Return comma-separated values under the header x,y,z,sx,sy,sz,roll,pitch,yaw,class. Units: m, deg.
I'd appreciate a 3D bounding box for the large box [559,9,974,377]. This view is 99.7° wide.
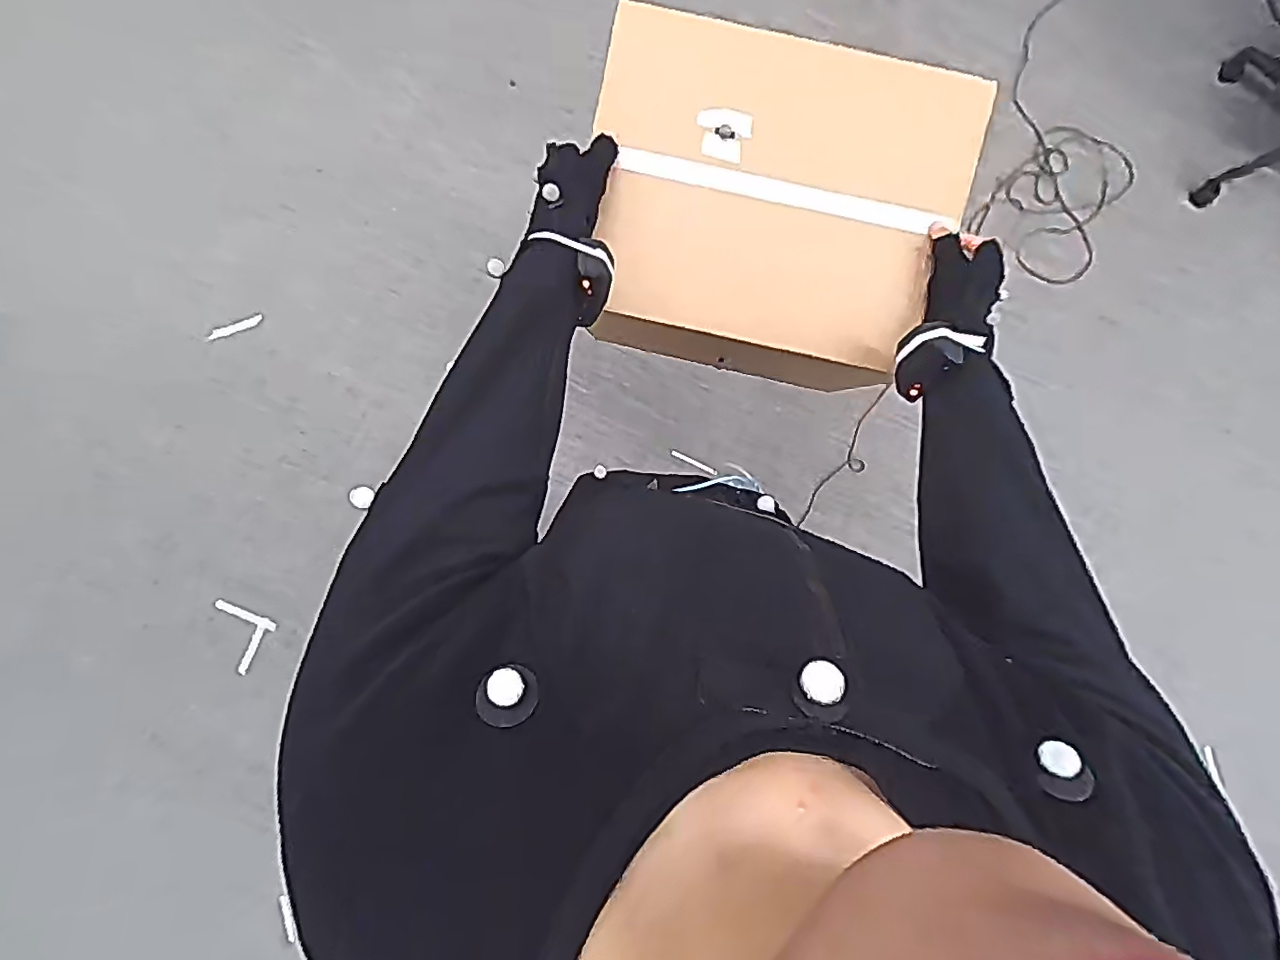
x,y,z,sx,sy,sz,roll,pitch,yaw,class
0.137,-0.334,0.737,0.408,0.320,0.320,12,97,0,large box
